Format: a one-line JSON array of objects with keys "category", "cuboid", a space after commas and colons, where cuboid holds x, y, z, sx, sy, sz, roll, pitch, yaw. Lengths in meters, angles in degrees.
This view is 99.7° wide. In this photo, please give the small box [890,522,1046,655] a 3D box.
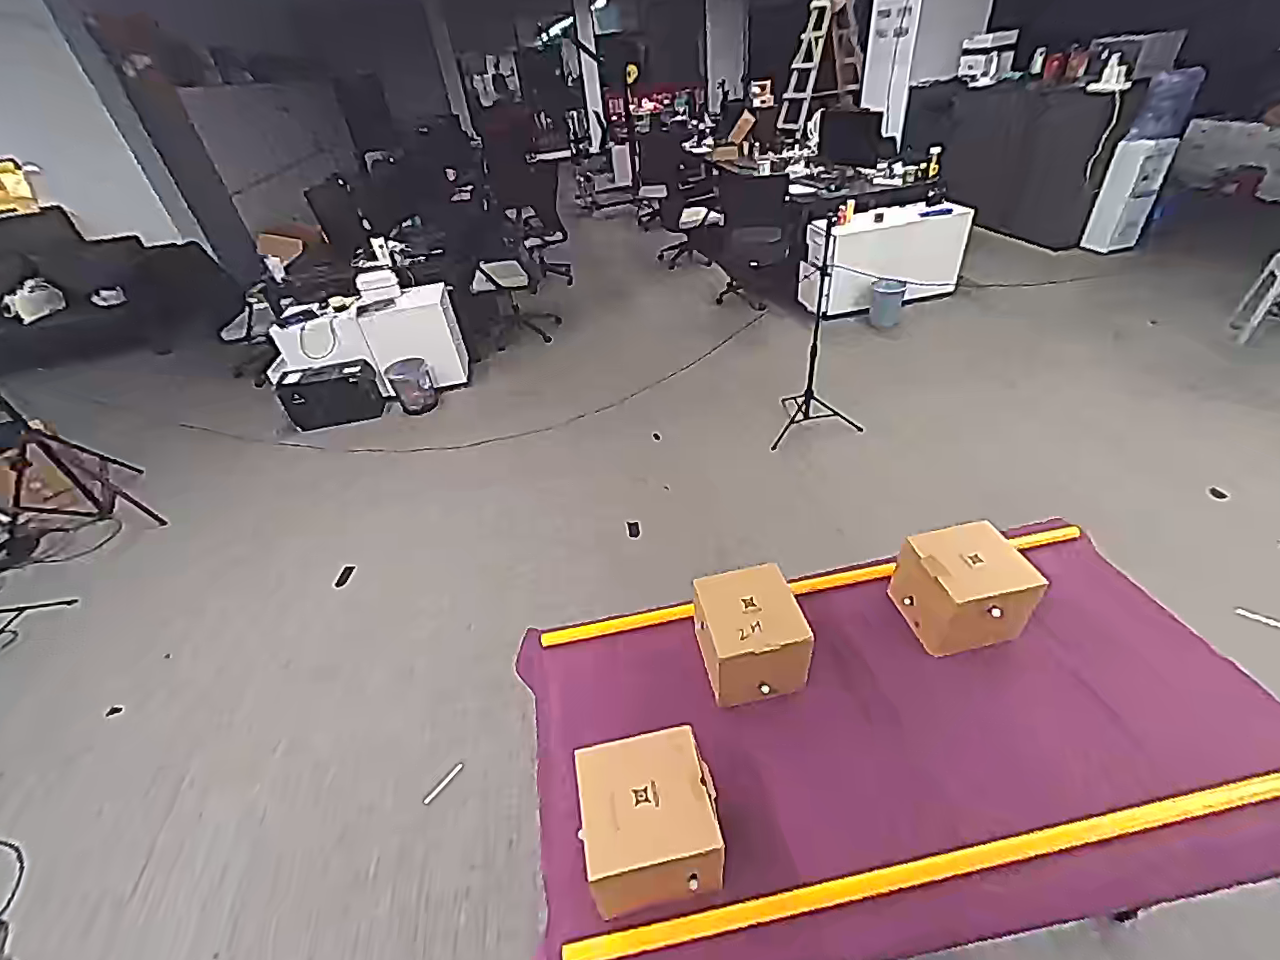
[{"category": "small box", "cuboid": [0.614, 0.209, 1.040, 0.179, 0.176, 0.168, -11, 39, -4]}]

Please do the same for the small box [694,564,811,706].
[{"category": "small box", "cuboid": [0.199, 0.287, 1.007, 0.168, 0.176, 0.179, -11, 40, -4]}]

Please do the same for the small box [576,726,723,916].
[{"category": "small box", "cuboid": [0.010, 0.489, 0.779, 0.179, 0.176, 0.168, -10, 37, -6]}]
